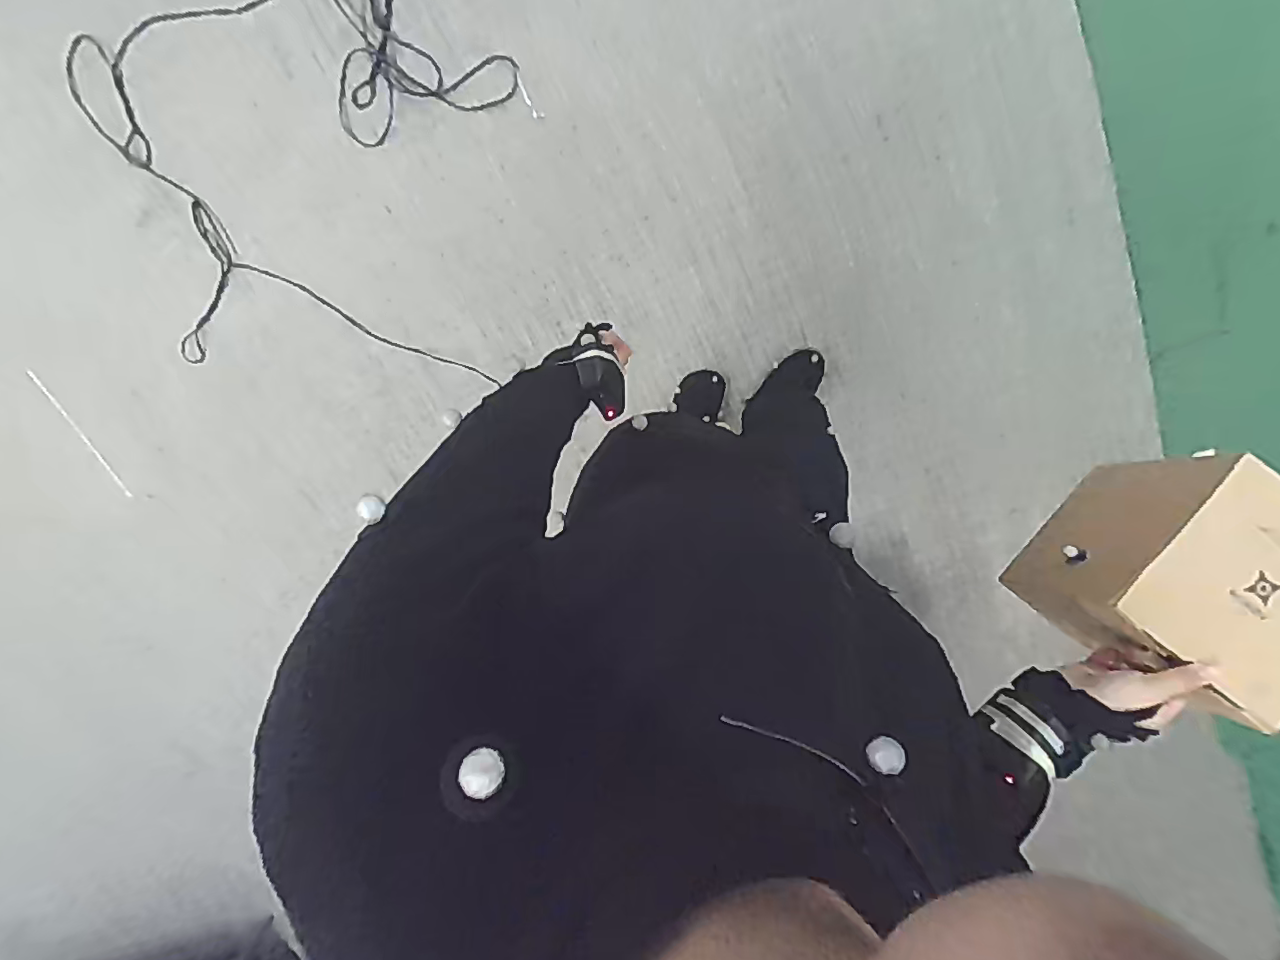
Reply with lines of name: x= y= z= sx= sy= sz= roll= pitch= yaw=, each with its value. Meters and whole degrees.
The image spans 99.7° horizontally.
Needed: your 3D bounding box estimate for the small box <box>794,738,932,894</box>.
small box: x=0.386 y=0.585 z=0.956 sx=0.179 sy=0.176 sz=0.168 roll=-13 pitch=107 yaw=11
